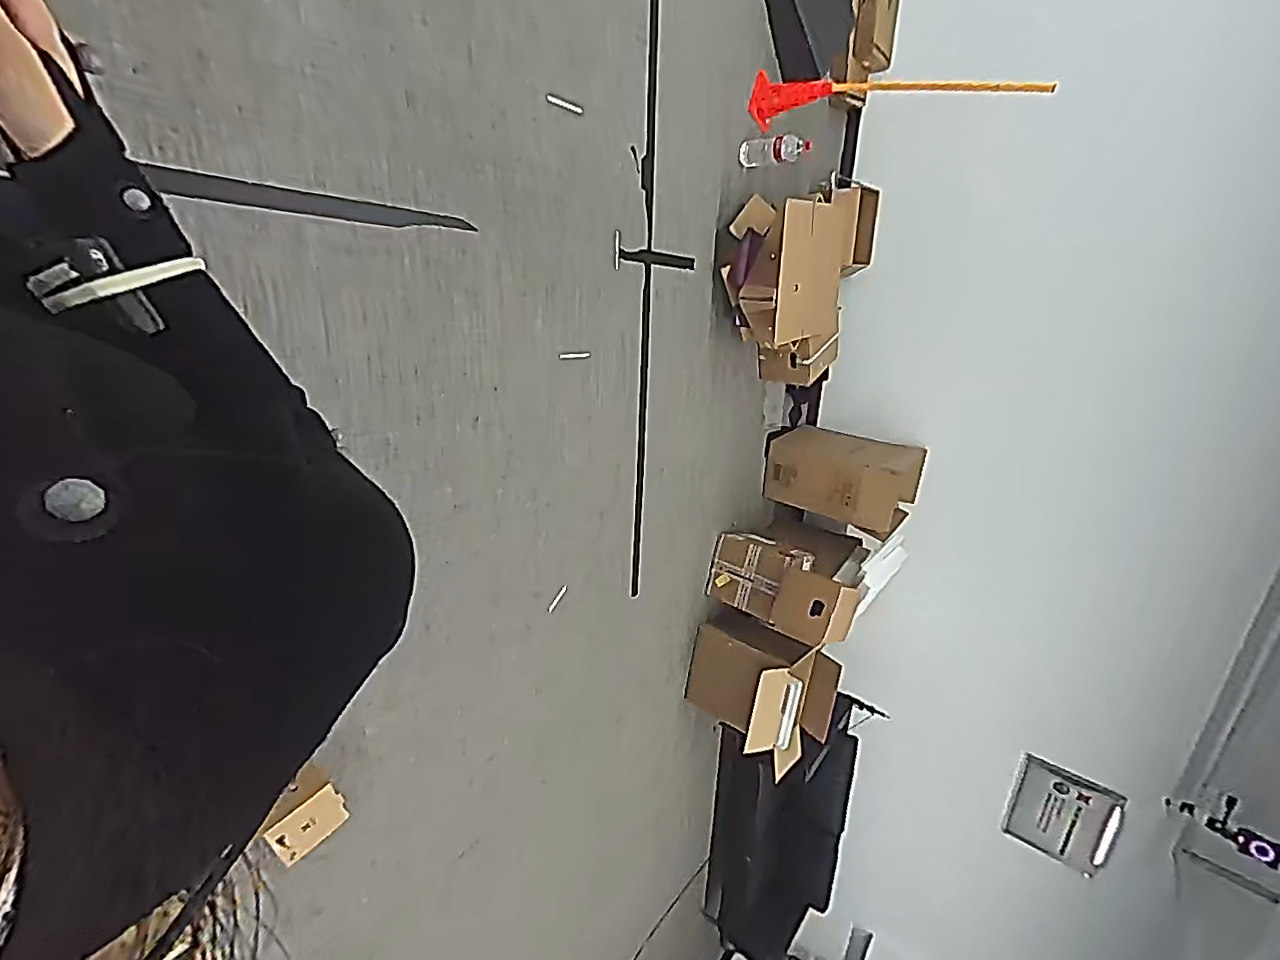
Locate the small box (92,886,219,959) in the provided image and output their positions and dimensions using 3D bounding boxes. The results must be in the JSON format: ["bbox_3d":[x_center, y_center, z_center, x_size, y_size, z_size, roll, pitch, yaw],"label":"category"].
[{"bbox_3d":[-1.050,1.040,1.178,0.168,0.176,0.179,-21,120,-48],"label":"small box"}]

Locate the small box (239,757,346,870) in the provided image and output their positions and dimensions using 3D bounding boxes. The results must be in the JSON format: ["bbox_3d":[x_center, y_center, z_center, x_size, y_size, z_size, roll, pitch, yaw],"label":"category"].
[{"bbox_3d":[-0.974,0.925,1.517,0.179,0.176,0.168,-35,129,-42],"label":"small box"}]
